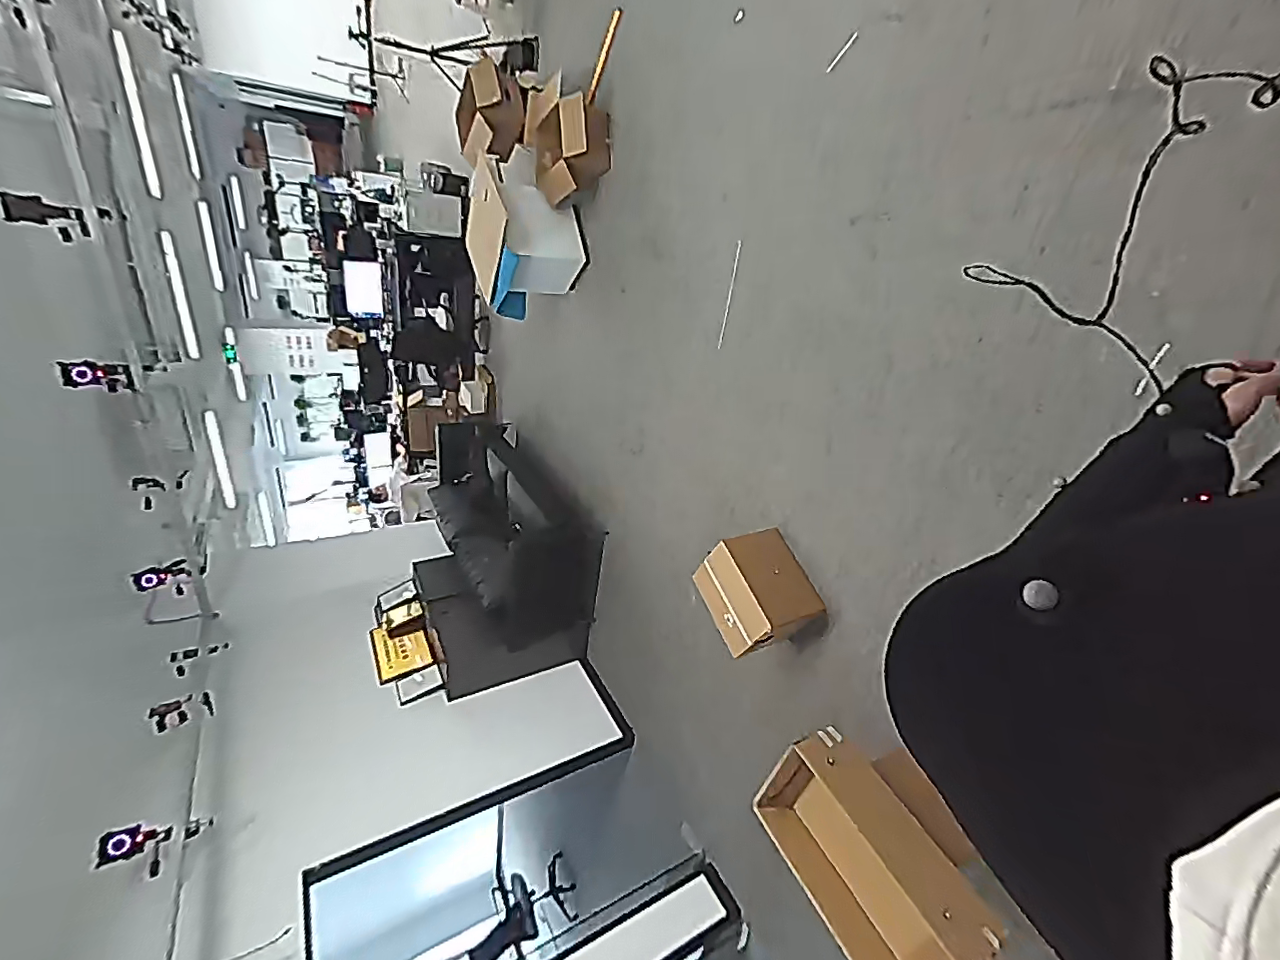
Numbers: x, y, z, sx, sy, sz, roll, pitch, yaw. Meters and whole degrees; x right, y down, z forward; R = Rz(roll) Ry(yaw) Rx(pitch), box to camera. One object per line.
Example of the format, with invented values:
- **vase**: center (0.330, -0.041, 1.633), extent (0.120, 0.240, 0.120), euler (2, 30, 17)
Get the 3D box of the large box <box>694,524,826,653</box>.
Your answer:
- **large box**: center (0.498, 0.455, 2.303), extent (0.408, 0.320, 0.320), euler (61, 145, 28)
